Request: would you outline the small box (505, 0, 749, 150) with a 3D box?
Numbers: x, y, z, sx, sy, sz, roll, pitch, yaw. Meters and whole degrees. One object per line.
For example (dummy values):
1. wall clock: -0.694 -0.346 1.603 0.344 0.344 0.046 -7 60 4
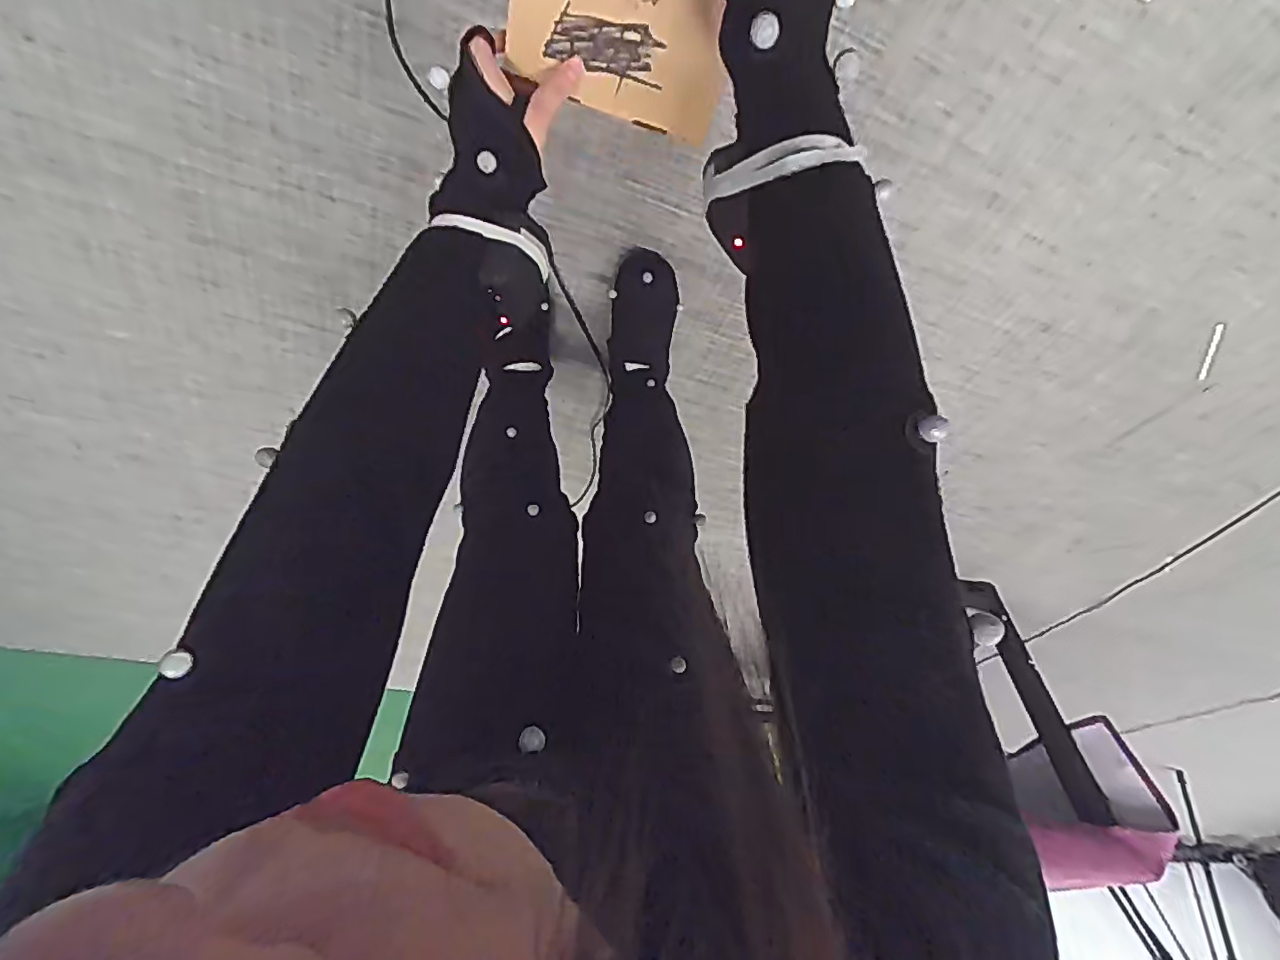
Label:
1. small box: -0.003 -0.408 0.430 0.168 0.176 0.179 11 138 -12
